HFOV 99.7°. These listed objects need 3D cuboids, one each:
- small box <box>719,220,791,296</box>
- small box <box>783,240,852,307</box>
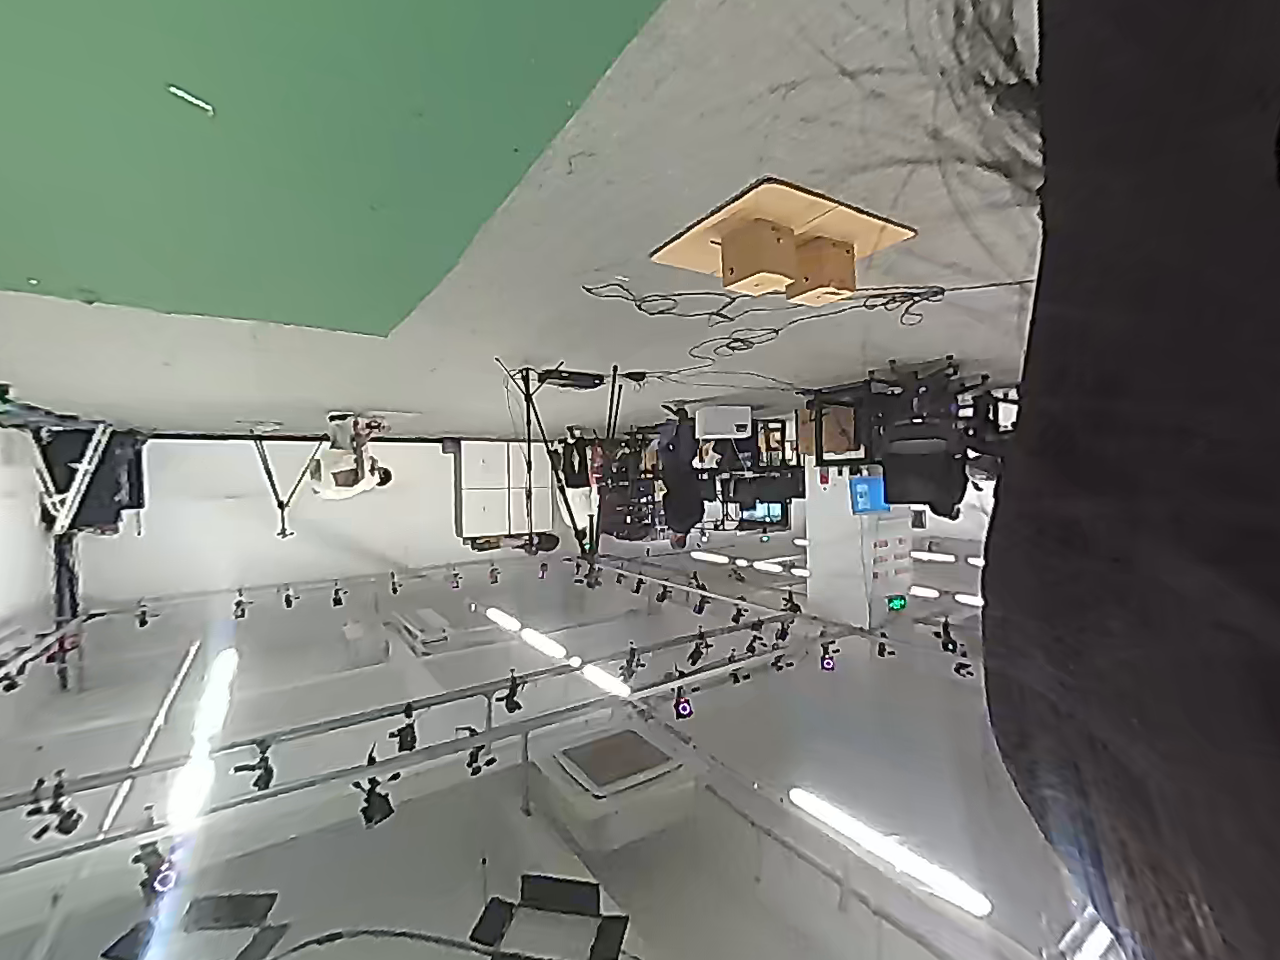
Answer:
[{"bbox_3d":[0.378,-0.726,1.780,0.168,0.176,0.179,-3,-179,-36],"label":"small box"},{"bbox_3d":[0.623,-0.729,1.915,0.168,0.176,0.179,-2,-179,-30],"label":"small box"}]
